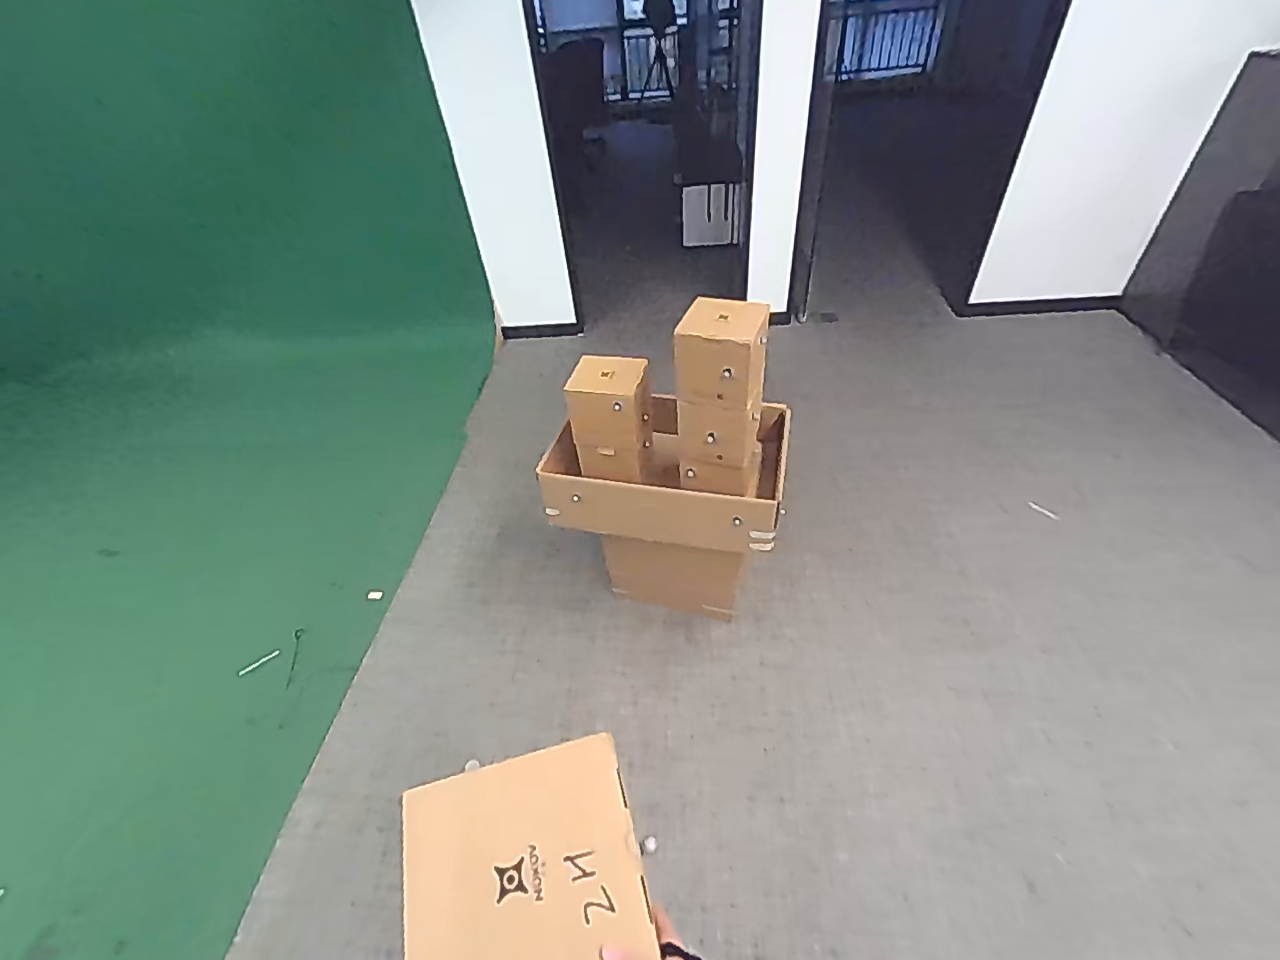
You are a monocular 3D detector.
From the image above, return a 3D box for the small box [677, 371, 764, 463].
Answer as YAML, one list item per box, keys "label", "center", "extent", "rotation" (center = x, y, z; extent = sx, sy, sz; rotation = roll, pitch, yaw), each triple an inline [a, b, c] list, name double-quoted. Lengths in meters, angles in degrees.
- label: "small box"
  center: [0.198, -0.163, 1.305]
  extent: [0.168, 0.176, 0.179]
  rotation: [11, 46, 18]

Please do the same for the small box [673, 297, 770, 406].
- label: "small box"
  center: [0.183, -0.283, 1.194]
  extent: [0.168, 0.176, 0.179]
  rotation: [12, 45, 19]

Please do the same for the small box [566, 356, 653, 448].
- label: "small box"
  center: [-0.071, -0.199, 1.383]
  extent: [0.179, 0.176, 0.168]
  rotation: [6, 44, 12]

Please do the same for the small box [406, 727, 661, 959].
- label: "small box"
  center: [-0.085, 0.341, 0.474]
  extent: [0.179, 0.176, 0.168]
  rotation: [-13, 55, -7]
